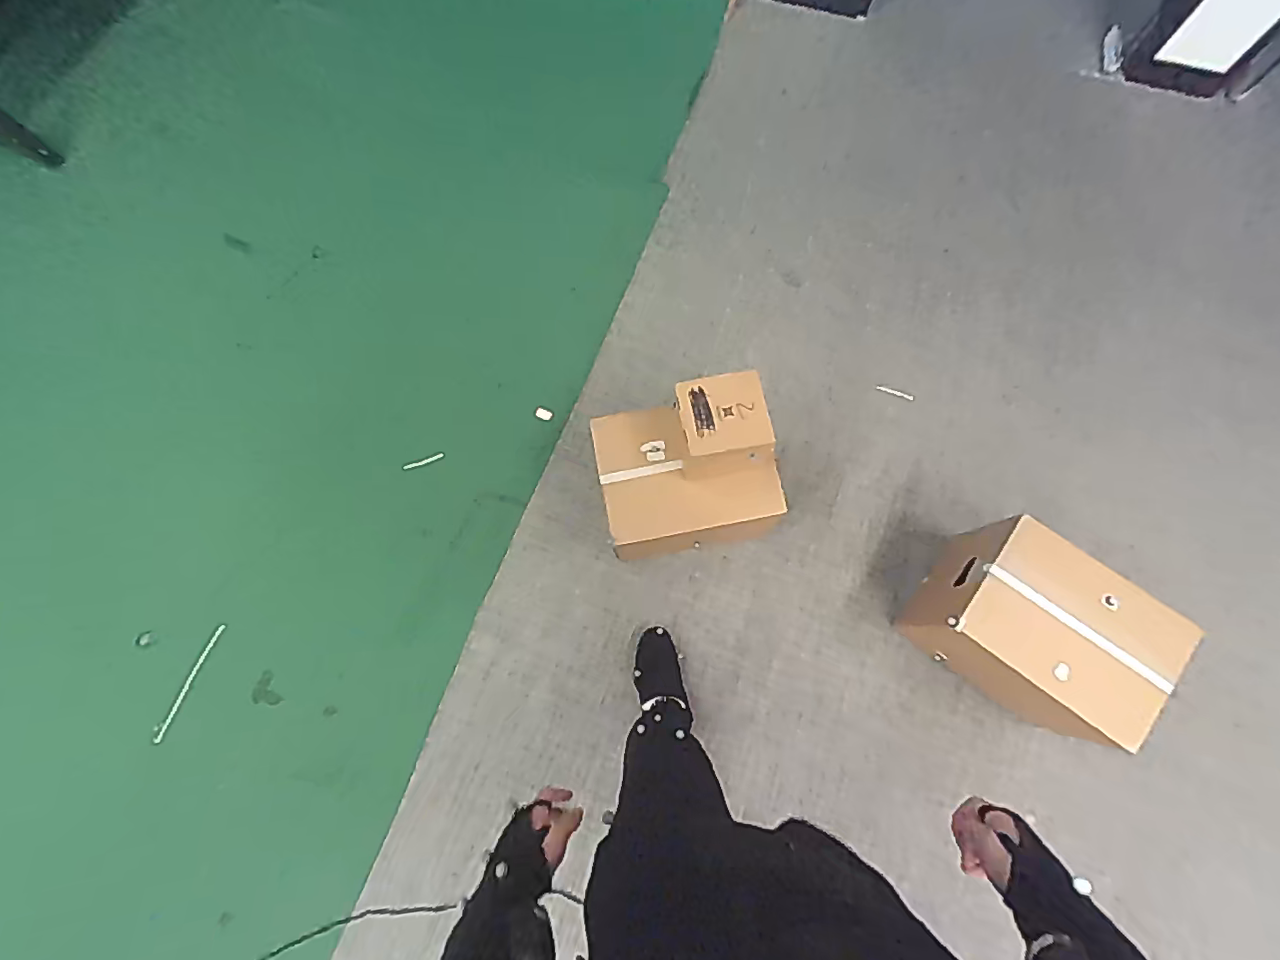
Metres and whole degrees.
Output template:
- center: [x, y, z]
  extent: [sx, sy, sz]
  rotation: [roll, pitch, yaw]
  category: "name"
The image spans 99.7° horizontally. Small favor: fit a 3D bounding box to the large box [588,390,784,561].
- center: [0.107, 0.006, 1.388]
  extent: [0.408, 0.320, 0.320]
  rotation: [-12, 74, -1]
  category: "large box"
